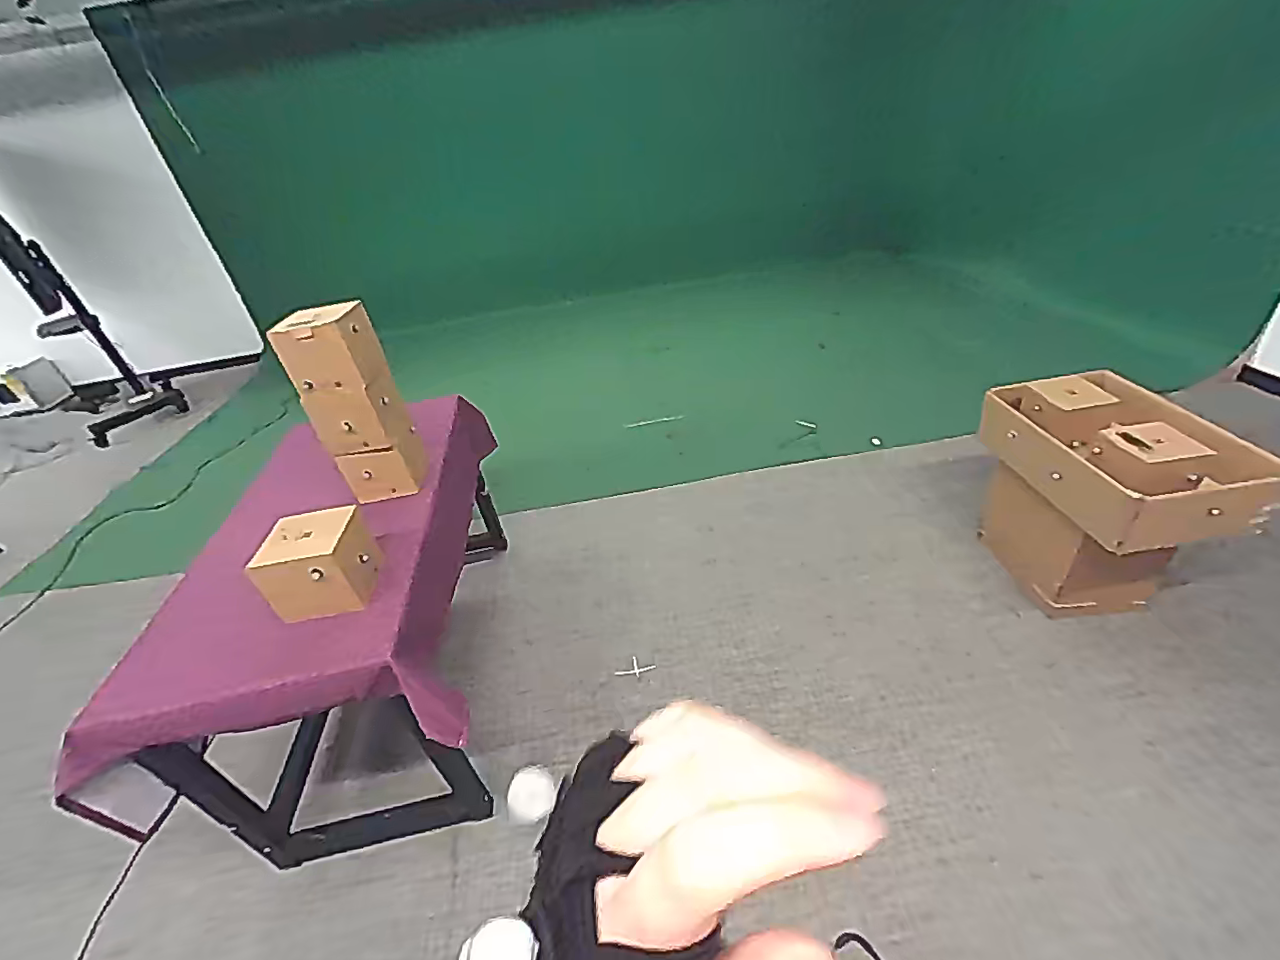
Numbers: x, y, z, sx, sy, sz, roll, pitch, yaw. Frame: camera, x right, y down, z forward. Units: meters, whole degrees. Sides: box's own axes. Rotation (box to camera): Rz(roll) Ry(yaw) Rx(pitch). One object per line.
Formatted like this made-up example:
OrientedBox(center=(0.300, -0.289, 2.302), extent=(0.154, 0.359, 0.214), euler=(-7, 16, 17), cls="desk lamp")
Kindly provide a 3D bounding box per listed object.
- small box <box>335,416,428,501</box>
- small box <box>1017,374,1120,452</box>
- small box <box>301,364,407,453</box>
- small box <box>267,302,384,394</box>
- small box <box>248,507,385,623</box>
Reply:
OrientedBox(center=(-0.720, -0.056, 1.531), extent=(0.168, 0.176, 0.179), euler=(-12, 35, -2), cls="small box")
OrientedBox(center=(1.318, -0.208, 1.682), extent=(0.168, 0.176, 0.179), euler=(-9, 36, 3), cls="small box")
OrientedBox(center=(-0.743, -0.184, 1.431), extent=(0.168, 0.176, 0.179), euler=(-9, 35, 1), cls="small box")
OrientedBox(center=(-0.767, -0.322, 1.344), extent=(0.168, 0.176, 0.179), euler=(-10, 34, 1), cls="small box")
OrientedBox(center=(-0.690, 0.186, 1.180), extent=(0.179, 0.176, 0.168), euler=(-11, 34, 0), cls="small box")
